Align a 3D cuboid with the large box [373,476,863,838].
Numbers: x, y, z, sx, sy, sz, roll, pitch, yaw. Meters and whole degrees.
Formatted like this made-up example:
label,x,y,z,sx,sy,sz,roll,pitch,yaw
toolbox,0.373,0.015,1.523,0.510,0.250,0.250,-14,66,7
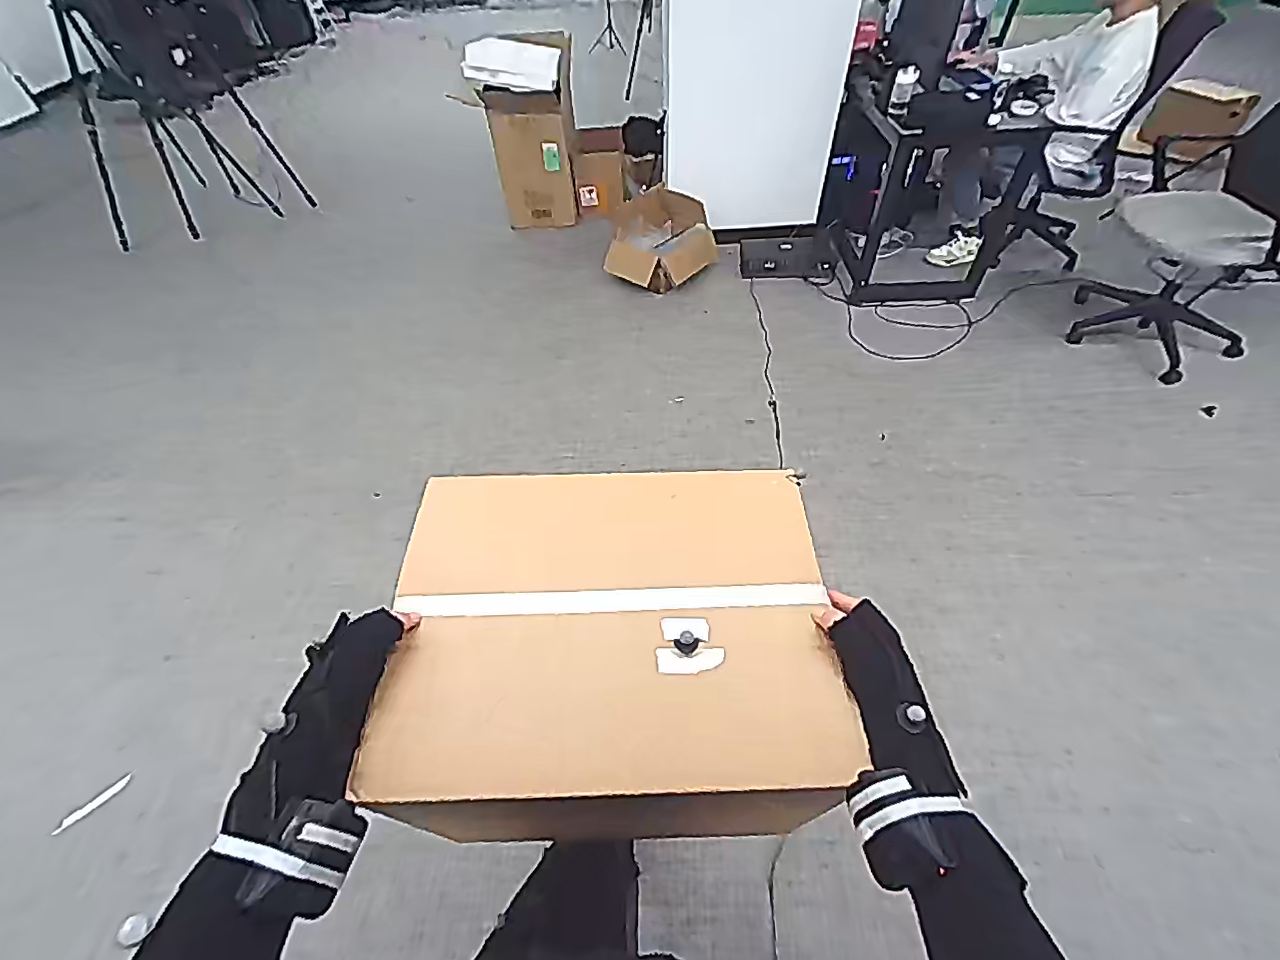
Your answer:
label,x,y,z,sx,sy,sz,roll,pitch,yaw
large box,-0.022,0.213,0.638,0.408,0.320,0.320,-1,51,-1
